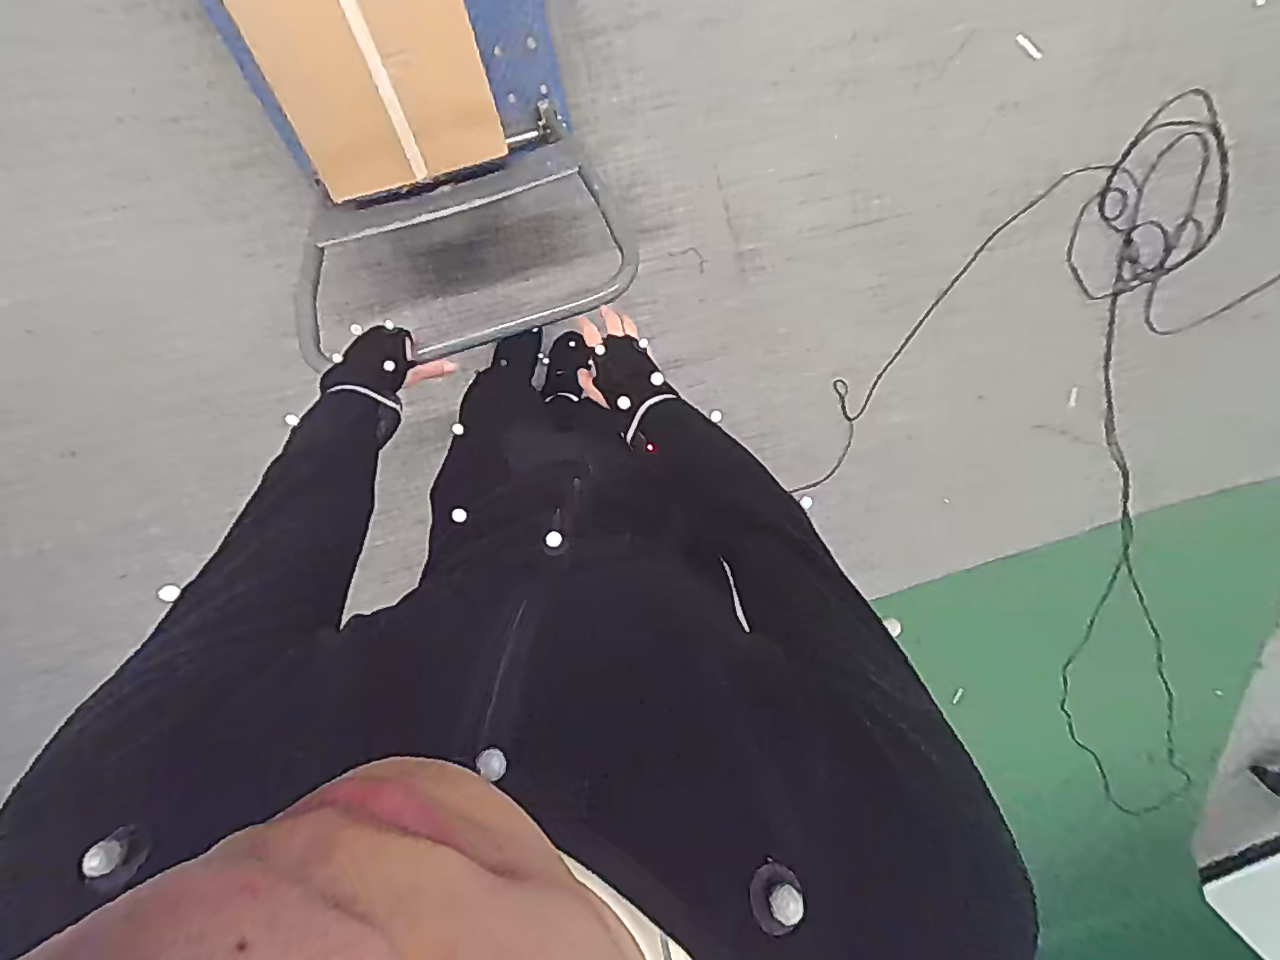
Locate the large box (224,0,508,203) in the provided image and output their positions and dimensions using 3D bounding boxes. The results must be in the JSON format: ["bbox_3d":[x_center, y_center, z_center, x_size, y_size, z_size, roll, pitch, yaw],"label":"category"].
[{"bbox_3d":[-0.447,-0.752,0.898,0.320,0.320,0.408,-19,136,-5],"label":"large box"}]
